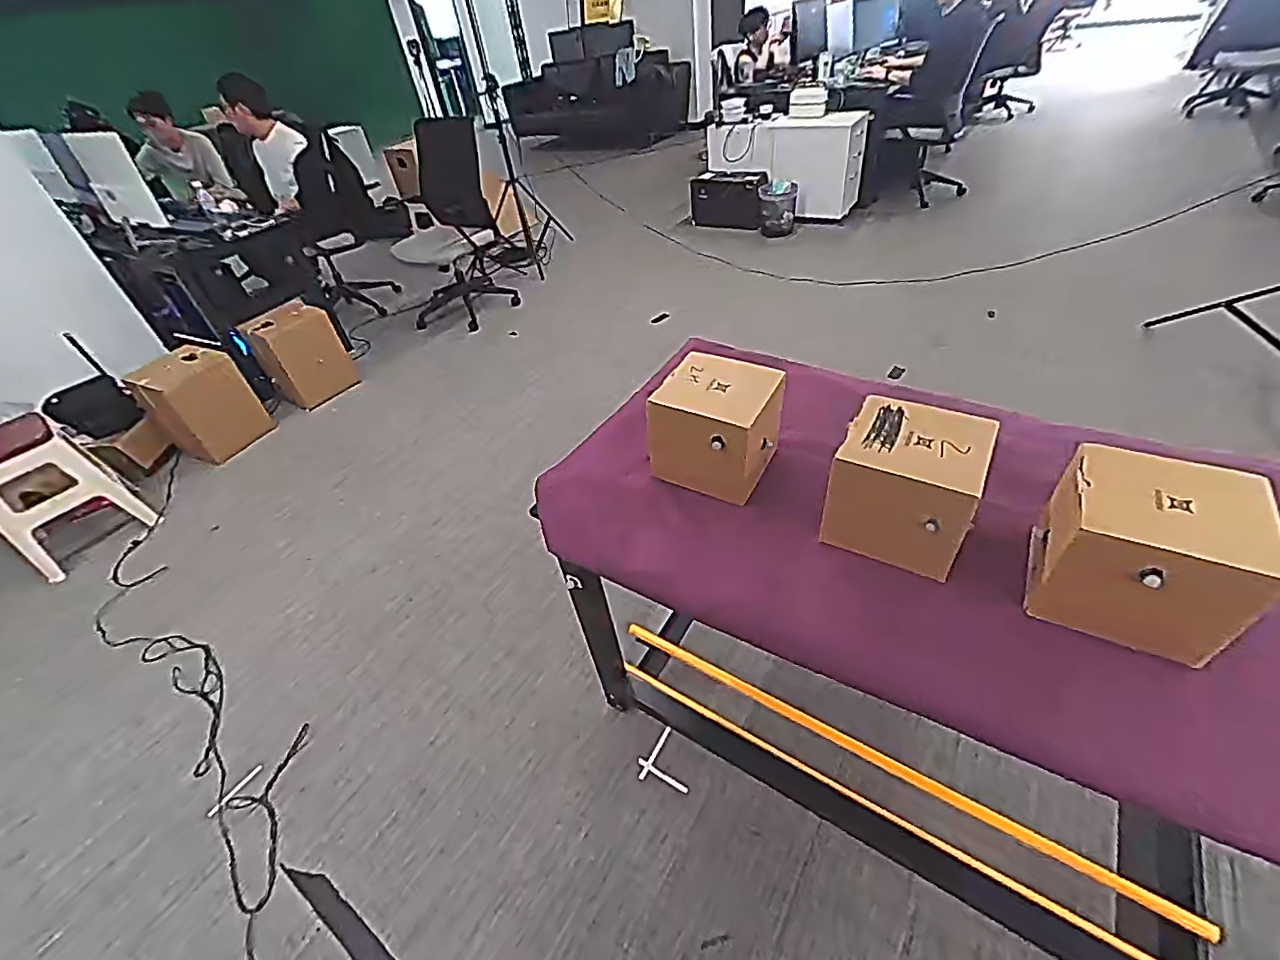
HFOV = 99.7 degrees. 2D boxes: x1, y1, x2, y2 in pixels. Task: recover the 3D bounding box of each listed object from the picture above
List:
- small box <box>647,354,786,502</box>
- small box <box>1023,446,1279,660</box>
[{"bbox_3d":[0.131,-0.087,0.925,0.179,0.176,0.168,19,48,24],"label":"small box"},{"bbox_3d":[0.602,0.089,0.656,0.179,0.176,0.168,17,48,27],"label":"small box"}]
